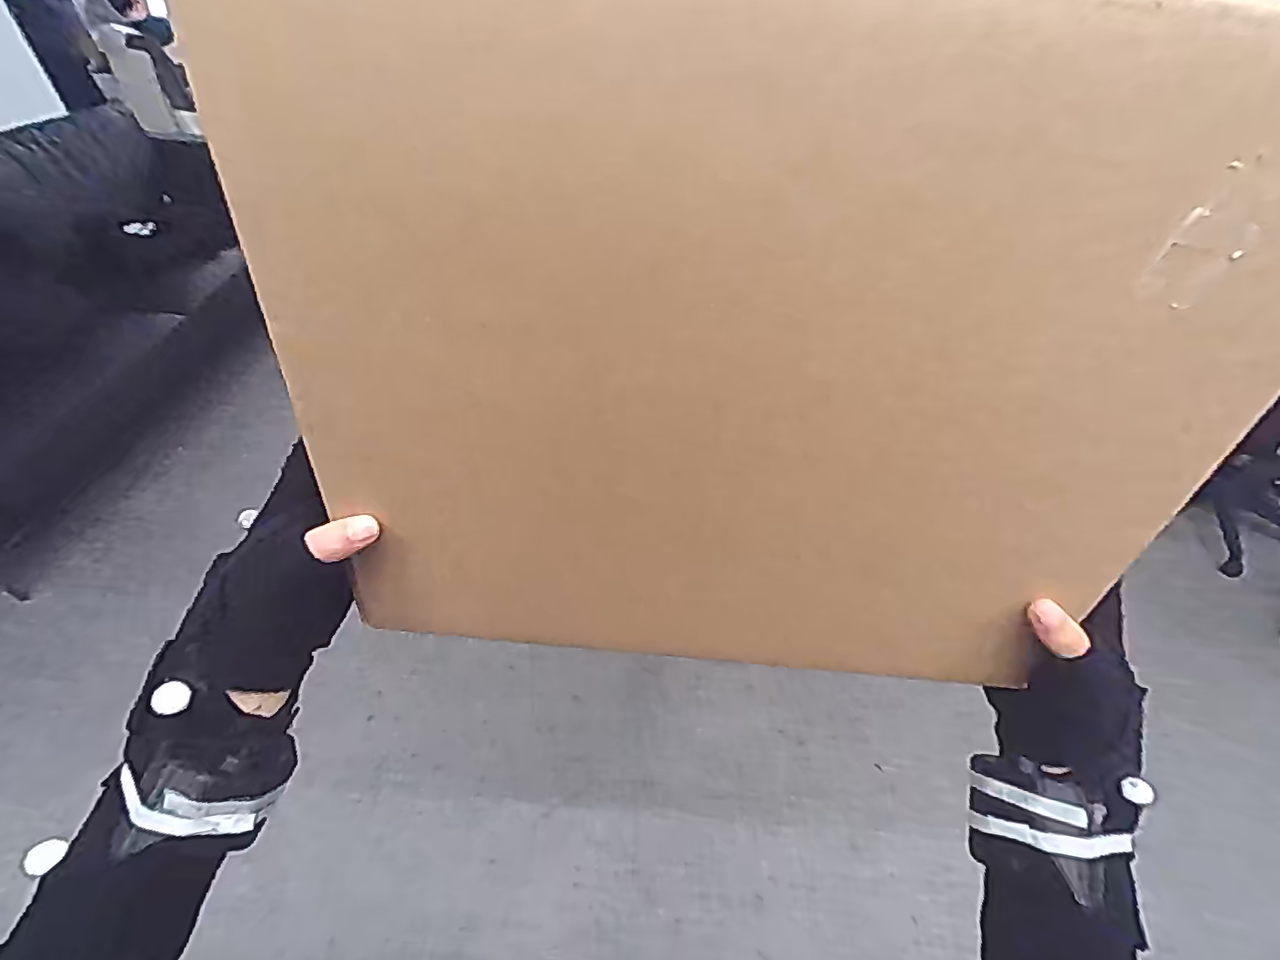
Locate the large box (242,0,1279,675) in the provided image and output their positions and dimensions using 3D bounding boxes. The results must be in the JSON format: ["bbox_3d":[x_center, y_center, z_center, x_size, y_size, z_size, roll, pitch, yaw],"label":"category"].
[{"bbox_3d":[0.062,-0.101,0.364,0.408,0.320,0.320,6,36,-3],"label":"large box"}]
